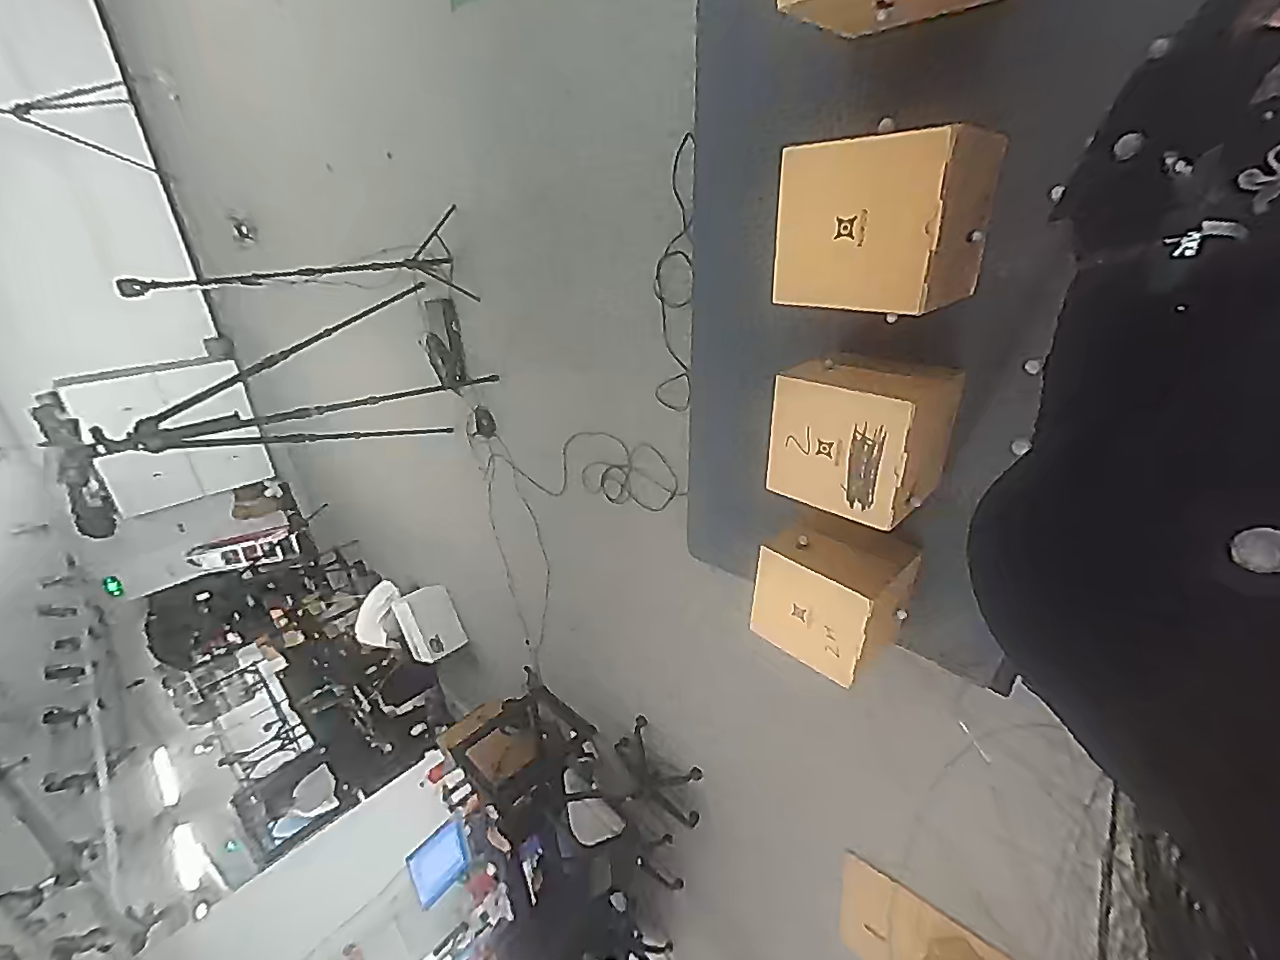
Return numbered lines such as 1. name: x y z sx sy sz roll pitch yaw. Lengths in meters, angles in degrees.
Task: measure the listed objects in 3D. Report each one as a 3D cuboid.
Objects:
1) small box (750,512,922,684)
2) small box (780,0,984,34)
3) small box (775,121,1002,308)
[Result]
1. small box: 0.297 0.166 0.832 0.179 0.176 0.168 26 127 39
2. small box: 0.256 -0.555 0.509 0.179 0.176 0.168 21 124 41
3. small box: 0.280 -0.297 0.622 0.179 0.176 0.168 20 123 40
